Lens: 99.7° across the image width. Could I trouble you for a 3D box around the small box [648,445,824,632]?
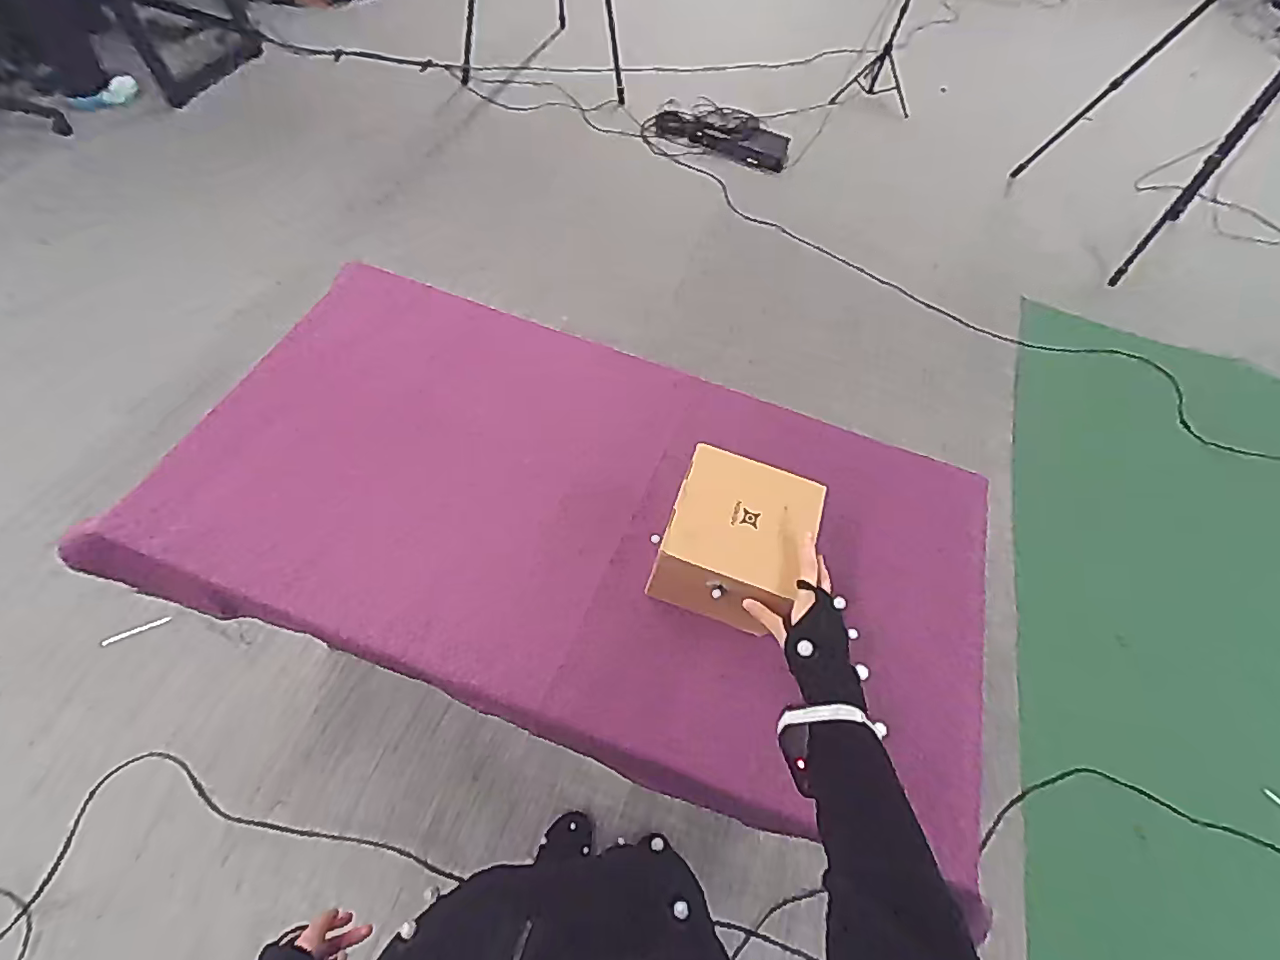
[{"bbox_3d":[0.120,0.087,0.728,0.179,0.176,0.168,20,60,5],"label":"small box"}]
